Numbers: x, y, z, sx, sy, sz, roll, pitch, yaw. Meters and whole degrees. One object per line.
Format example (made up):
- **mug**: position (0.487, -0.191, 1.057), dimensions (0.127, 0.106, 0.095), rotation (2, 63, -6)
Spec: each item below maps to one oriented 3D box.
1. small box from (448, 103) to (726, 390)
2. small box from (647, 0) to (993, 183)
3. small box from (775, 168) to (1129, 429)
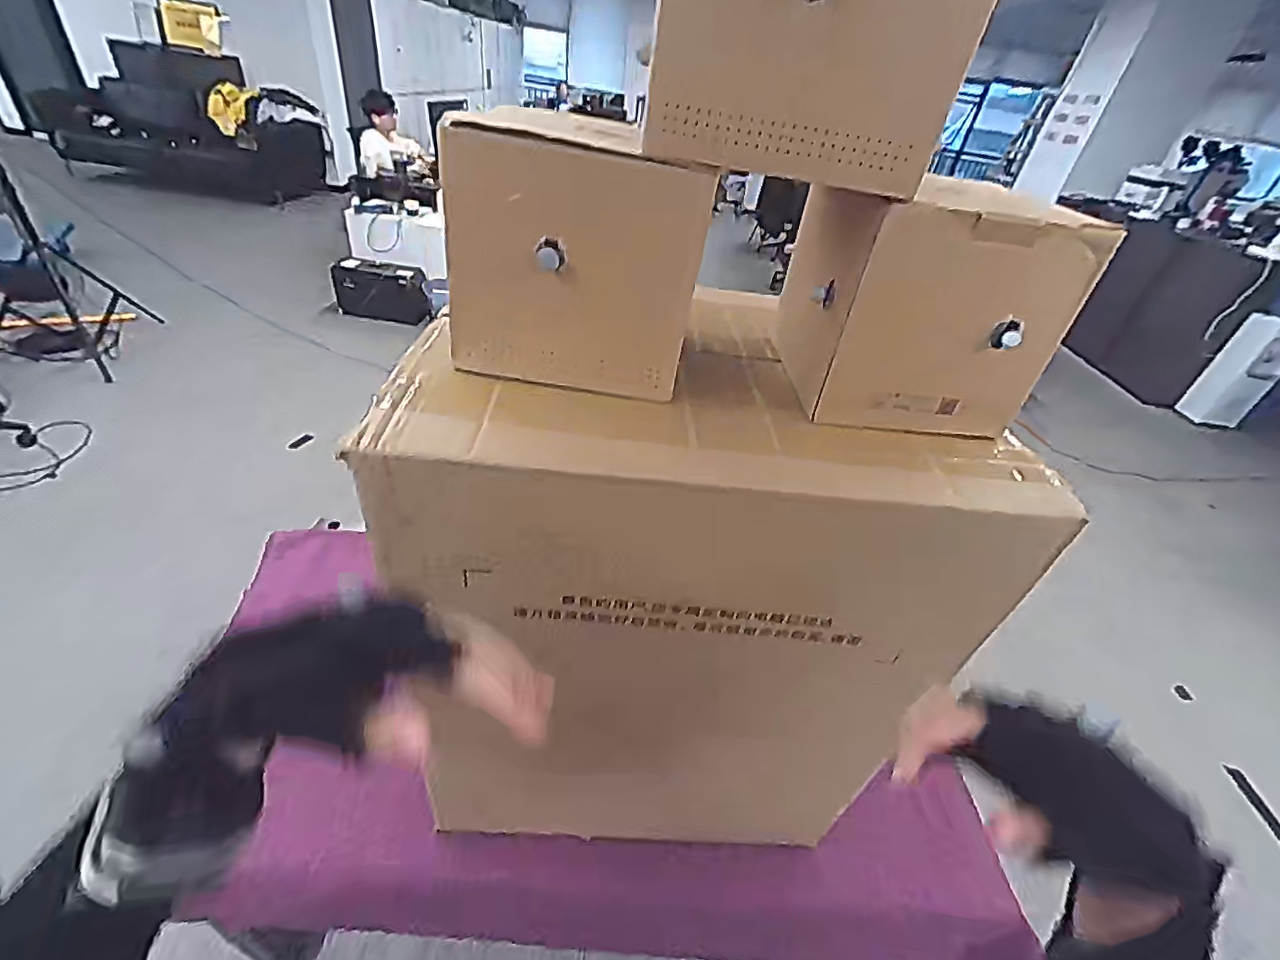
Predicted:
- **small box**: position (-0.040, -0.189, 0.440), dimensions (0.179, 0.176, 0.168), rotation (9, 37, -4)
- **small box**: position (0.108, -0.302, 0.347), dimensions (0.179, 0.176, 0.168), rotation (9, 37, 0)
- **small box**: position (0.230, -0.159, 0.459), dimensions (0.168, 0.176, 0.179), rotation (5, 36, -5)
